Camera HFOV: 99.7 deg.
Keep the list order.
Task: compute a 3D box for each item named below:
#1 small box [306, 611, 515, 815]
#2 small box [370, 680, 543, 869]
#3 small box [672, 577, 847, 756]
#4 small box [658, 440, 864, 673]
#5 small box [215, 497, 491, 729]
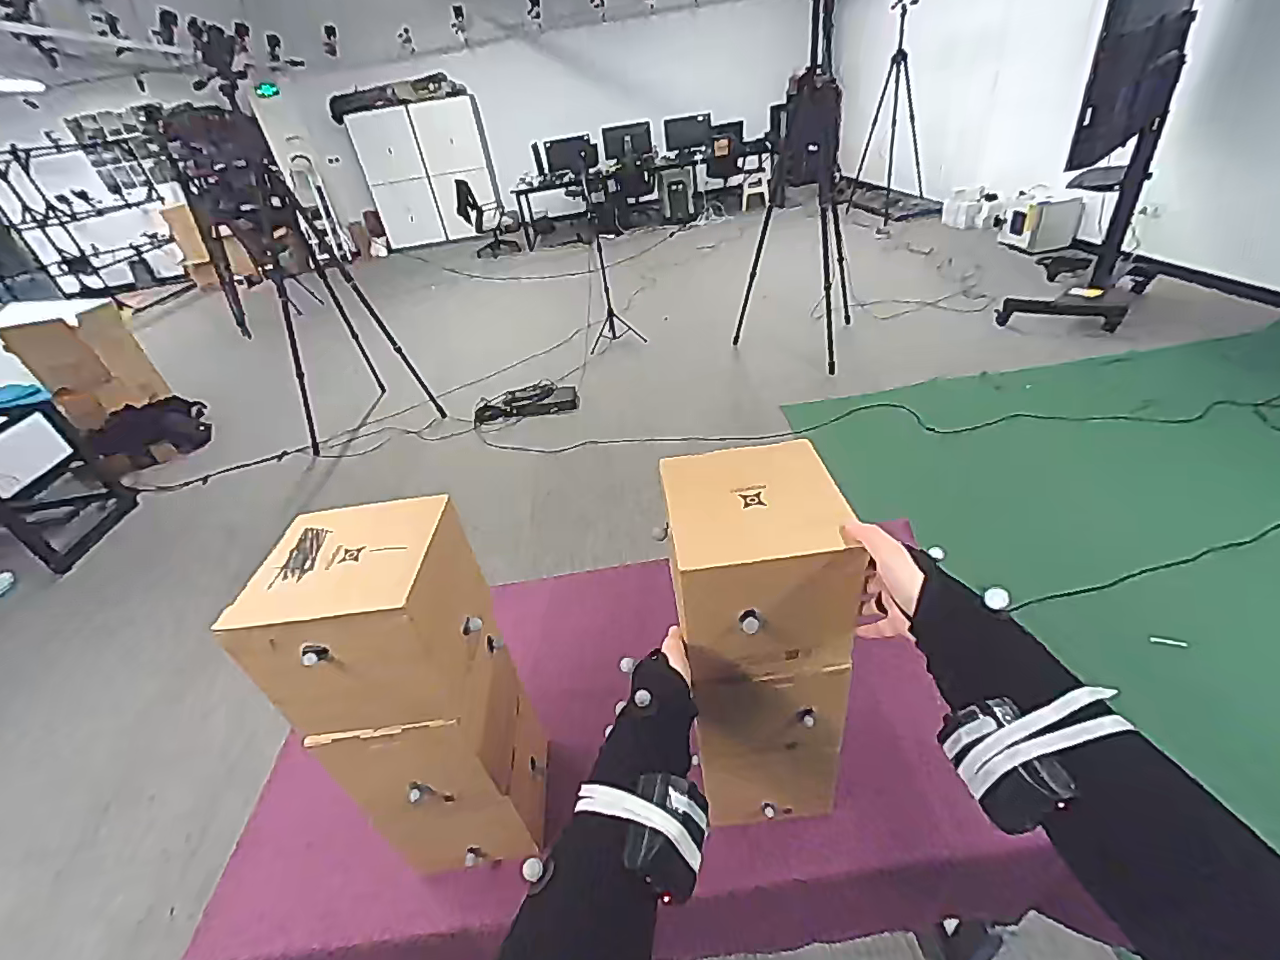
[{"bbox_3d":[-0.261,0.276,0.669,0.168,0.176,0.179,-10,35,1],"label":"small box"},{"bbox_3d":[-0.238,0.412,0.761,0.179,0.176,0.168,-9,35,-1],"label":"small box"},{"bbox_3d":[0.137,0.214,0.663,0.168,0.176,0.179,-8,35,1],"label":"small box"},{"bbox_3d":[0.116,0.083,0.570,0.168,0.176,0.179,-8,35,0],"label":"small box"},{"bbox_3d":[-0.278,0.142,0.575,0.179,0.176,0.168,-7,35,2],"label":"small box"}]
